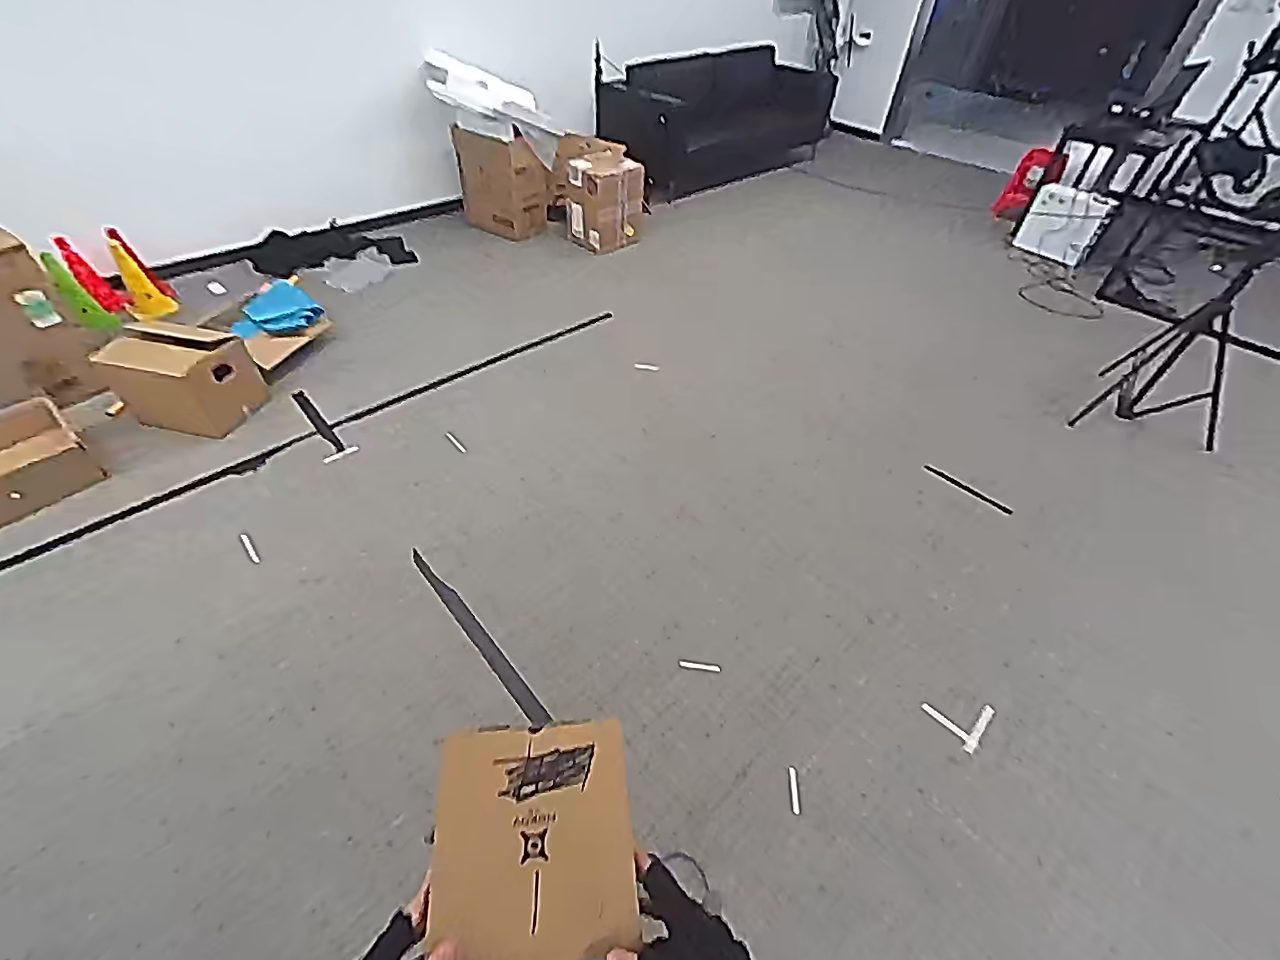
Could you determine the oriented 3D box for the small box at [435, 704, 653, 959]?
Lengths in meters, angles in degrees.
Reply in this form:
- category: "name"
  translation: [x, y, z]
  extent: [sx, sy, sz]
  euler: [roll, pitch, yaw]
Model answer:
- category: "small box"
  translation: [-0.091, 0.332, 0.516]
  extent: [0.168, 0.176, 0.179]
  euler: [0, 52, -11]
